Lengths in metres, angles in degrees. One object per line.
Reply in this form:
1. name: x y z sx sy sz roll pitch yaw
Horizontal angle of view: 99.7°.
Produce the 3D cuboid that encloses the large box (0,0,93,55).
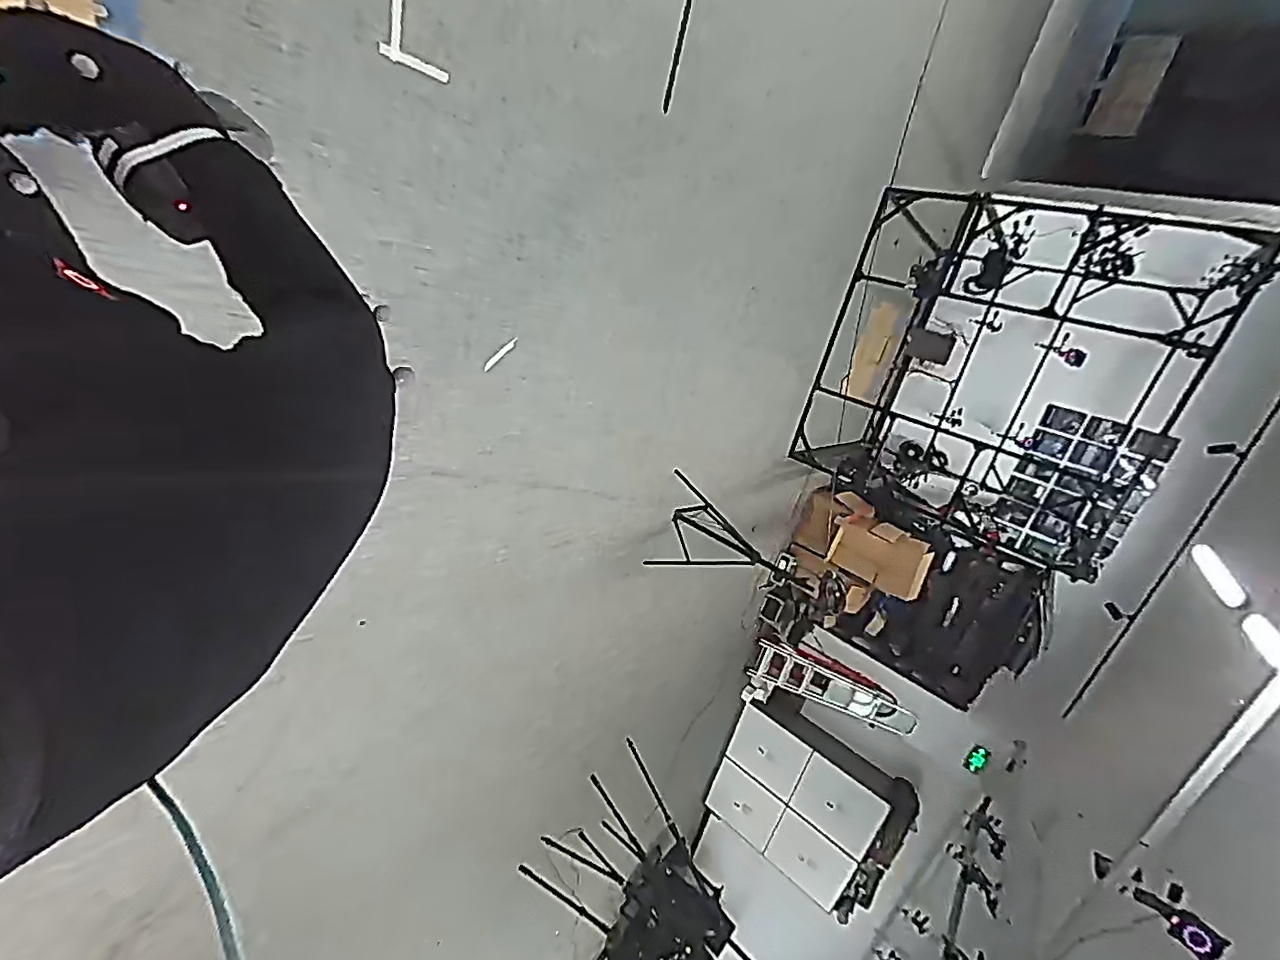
1. large box: -0.860 -0.674 0.516 0.408 0.320 0.320 -15 126 -52
